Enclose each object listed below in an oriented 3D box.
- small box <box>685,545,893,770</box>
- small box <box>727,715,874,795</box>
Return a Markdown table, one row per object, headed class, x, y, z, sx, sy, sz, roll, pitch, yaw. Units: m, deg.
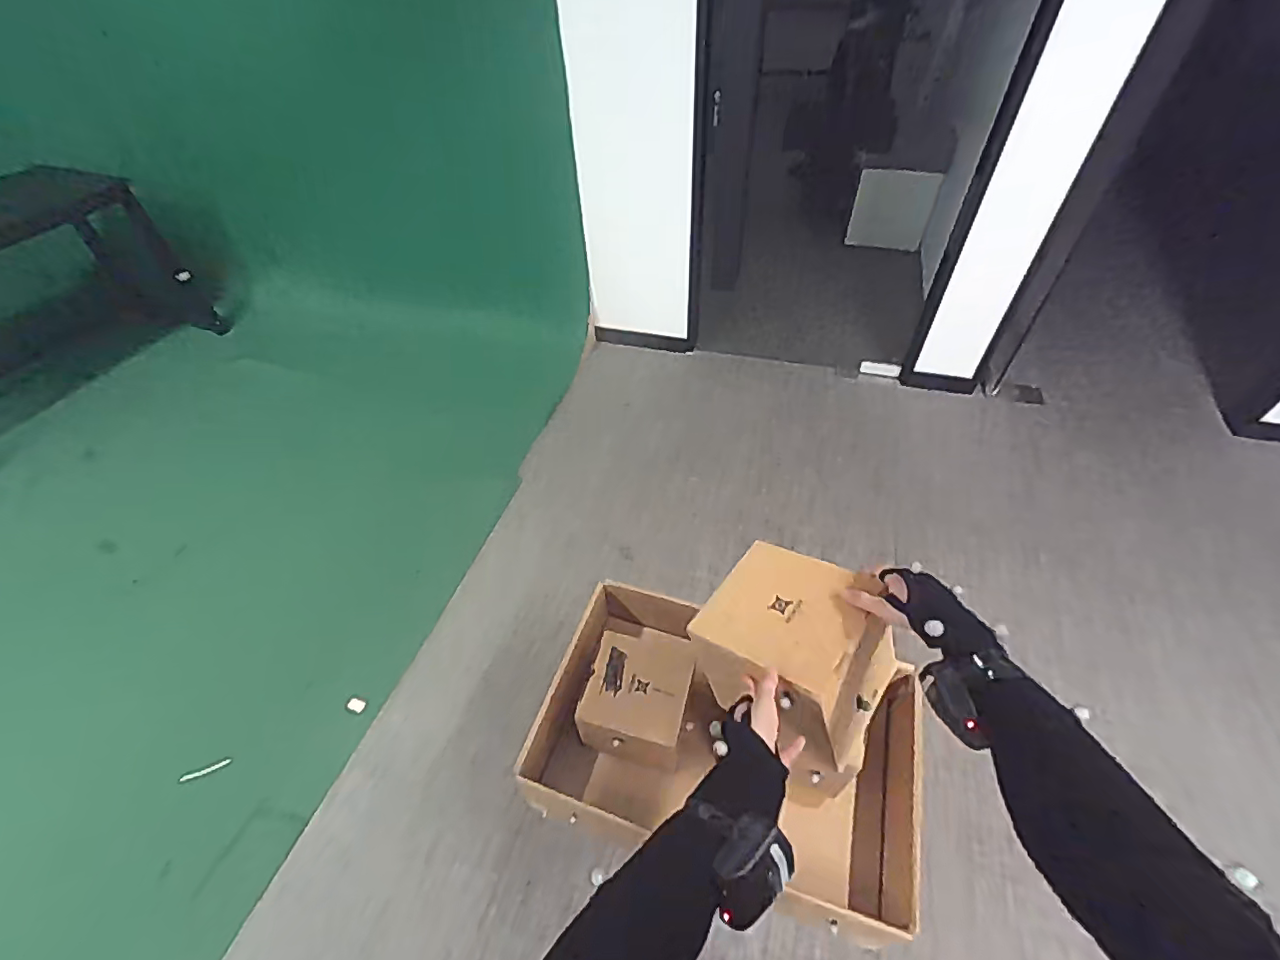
| class | x | y | z | sx | sy | sz | roll | pitch | yaw |
| --- | --- | --- | --- | --- | --- | --- | --- | --- | --- |
| small box | 0.188 | 0.213 | 0.666 | 0.179 | 0.176 | 0.168 | 17 | 49 | 44 |
| small box | 0.239 | 0.342 | 0.808 | 0.179 | 0.176 | 0.168 | 15 | 51 | 18 |
